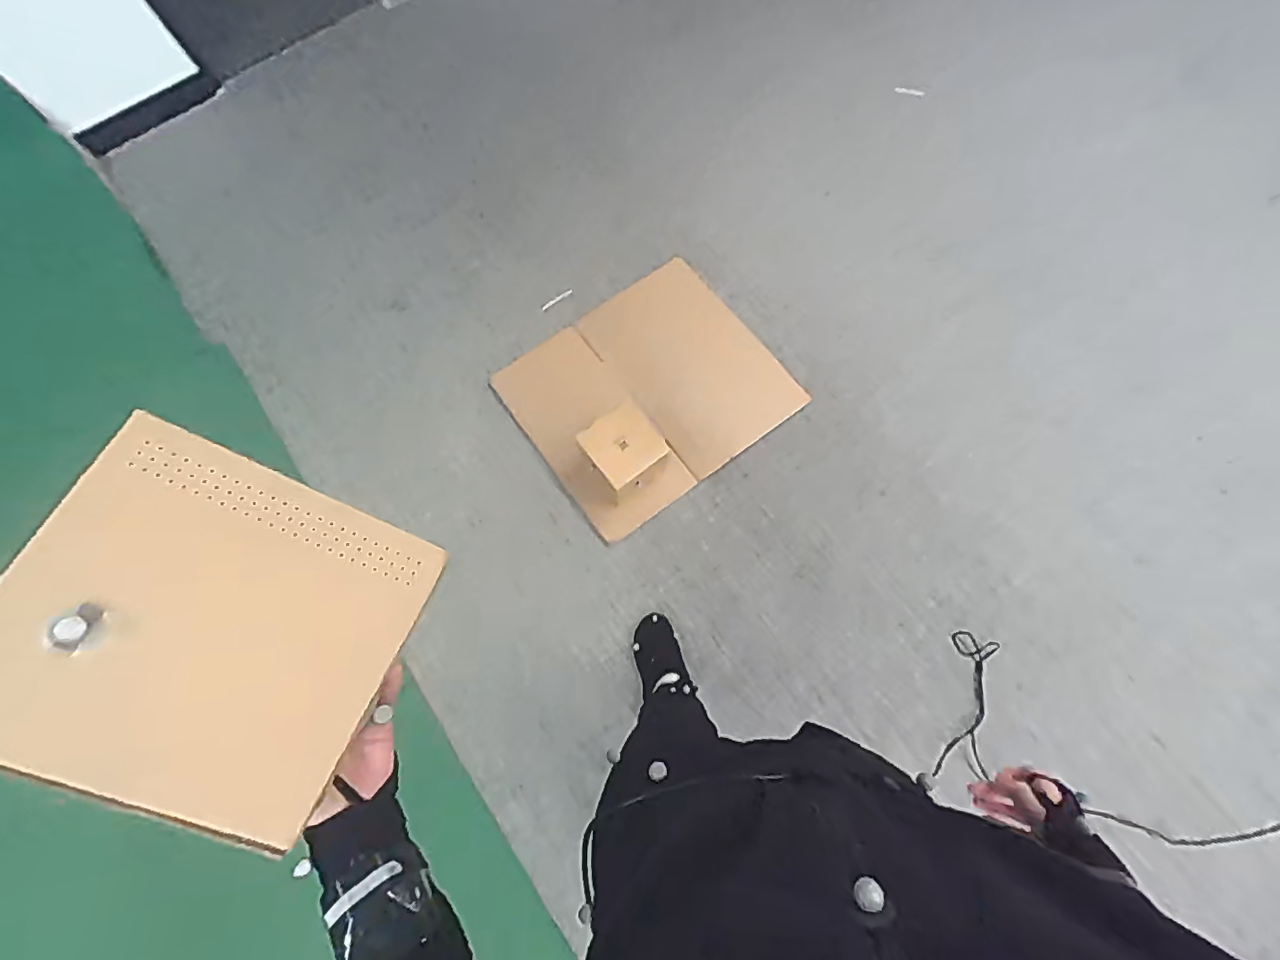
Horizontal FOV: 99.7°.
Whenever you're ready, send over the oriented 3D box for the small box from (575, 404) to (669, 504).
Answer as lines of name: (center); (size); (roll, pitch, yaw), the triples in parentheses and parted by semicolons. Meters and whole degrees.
small box: (-0.040, -0.056, 1.383); (0.168, 0.176, 0.179); (-37, 75, -10)
